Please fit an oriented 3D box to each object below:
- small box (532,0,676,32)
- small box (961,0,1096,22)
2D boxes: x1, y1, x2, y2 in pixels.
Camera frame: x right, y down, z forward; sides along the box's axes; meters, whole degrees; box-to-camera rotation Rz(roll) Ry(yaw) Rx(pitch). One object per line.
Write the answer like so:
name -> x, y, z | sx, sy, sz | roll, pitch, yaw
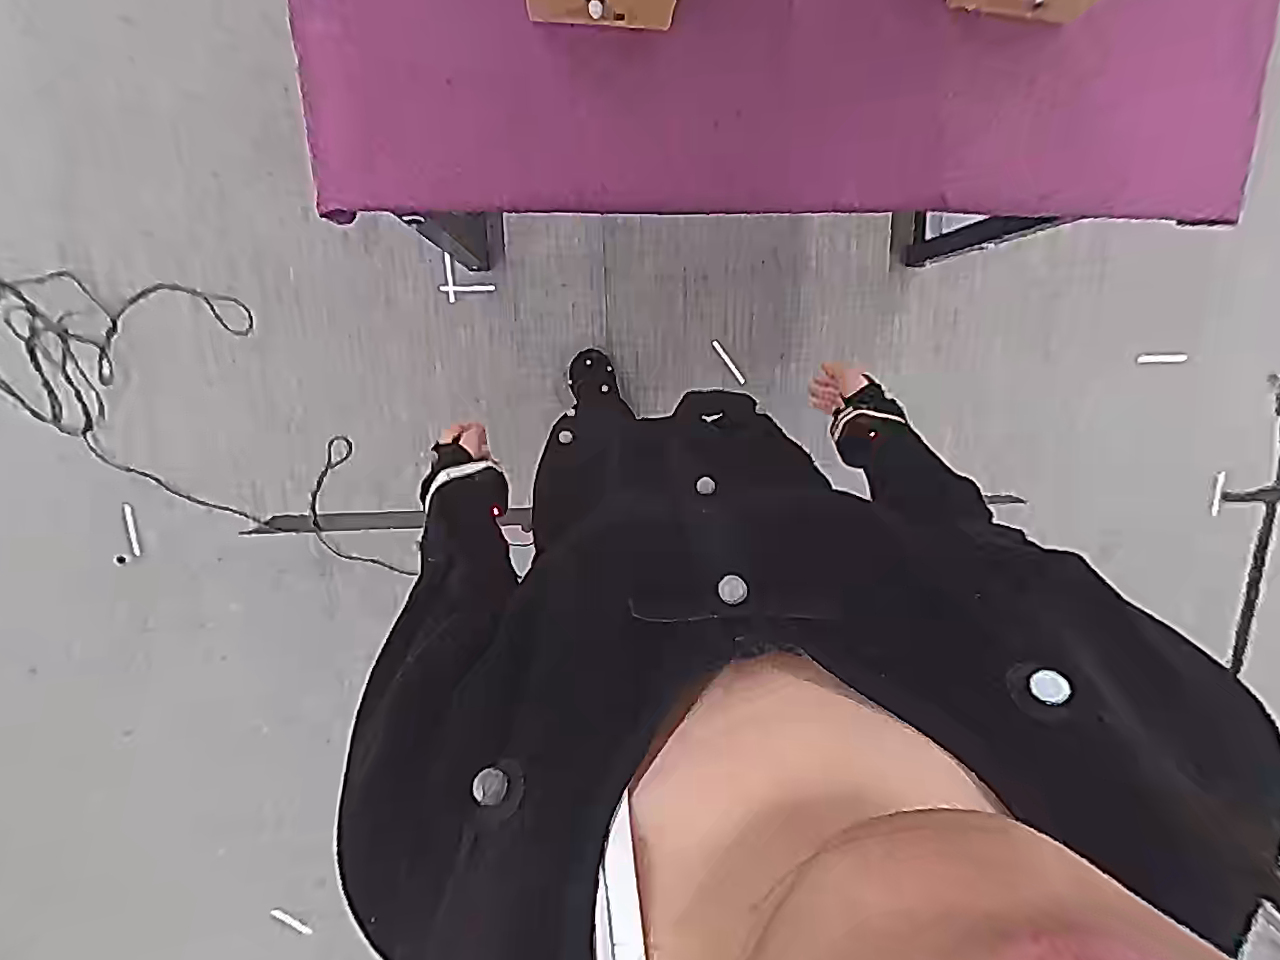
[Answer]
small box -> -0.037, -0.597, 0.535 | 0.168, 0.176, 0.179 | -1, 103, -5
small box -> 0.467, -0.641, 0.568 | 0.168, 0.176, 0.179 | 4, 102, -5
